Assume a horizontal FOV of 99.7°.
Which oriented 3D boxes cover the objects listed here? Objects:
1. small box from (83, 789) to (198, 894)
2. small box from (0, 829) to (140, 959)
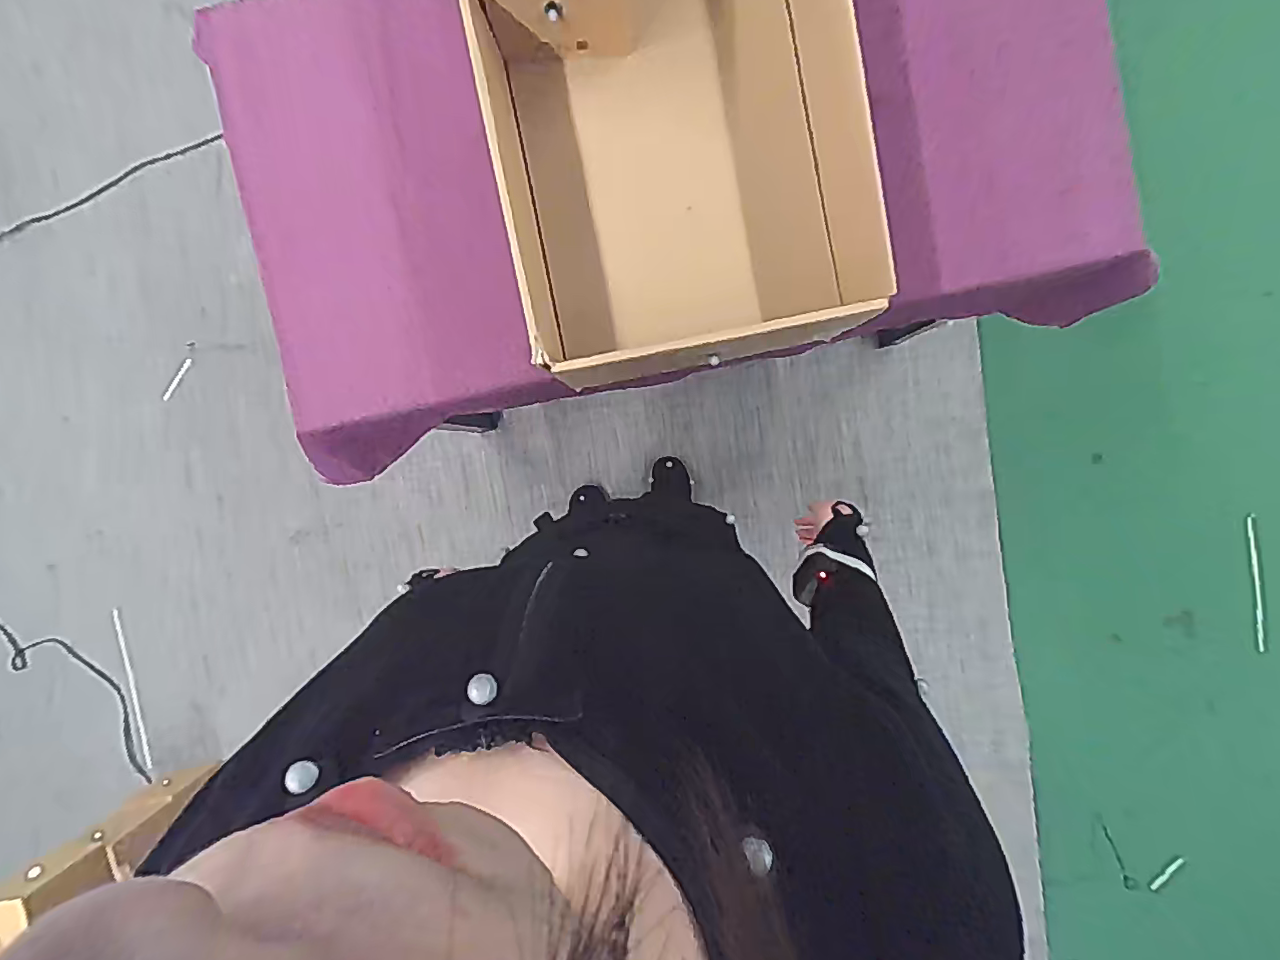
[{"bbox_3d":[-1.289,0.930,1.392,0.179,0.176,0.168,-12,93,5],"label":"small box"},{"bbox_3d":[-1.307,0.929,1.229,0.168,0.176,0.179,-12,94,4],"label":"small box"}]
